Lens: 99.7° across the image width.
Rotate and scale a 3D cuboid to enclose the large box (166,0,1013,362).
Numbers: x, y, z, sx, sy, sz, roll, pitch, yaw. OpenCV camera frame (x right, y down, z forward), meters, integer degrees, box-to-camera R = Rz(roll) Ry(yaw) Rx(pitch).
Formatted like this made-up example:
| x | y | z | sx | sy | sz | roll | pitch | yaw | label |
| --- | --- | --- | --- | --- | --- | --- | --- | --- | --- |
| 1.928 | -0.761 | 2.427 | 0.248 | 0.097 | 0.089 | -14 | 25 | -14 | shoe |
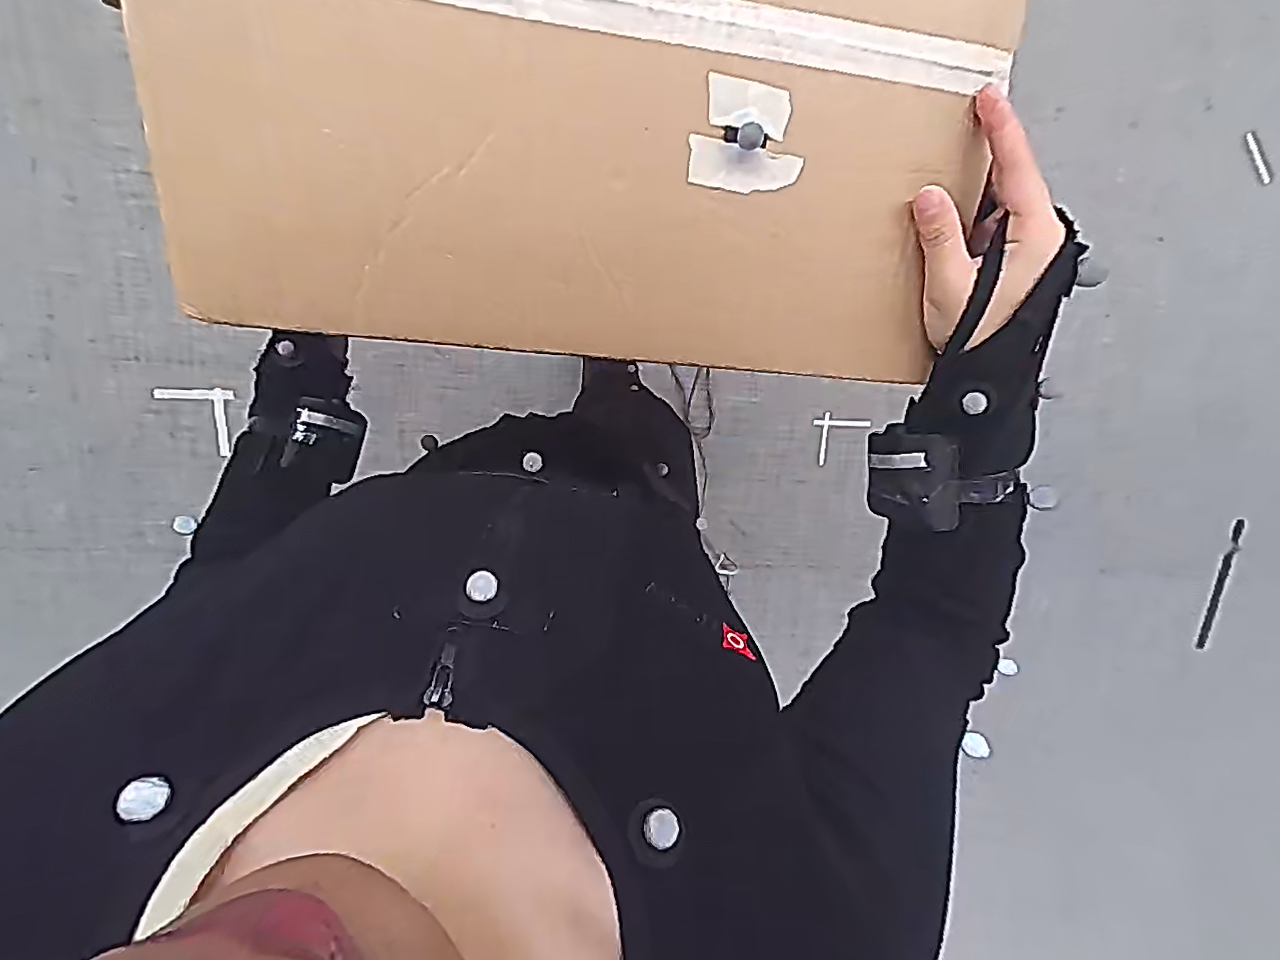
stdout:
| x | y | z | sx | sy | sz | roll | pitch | yaw | label |
| --- | --- | --- | --- | --- | --- | --- | --- | --- | --- |
| -0.030 | -0.271 | 0.397 | 0.408 | 0.320 | 0.320 | 2 | 110 | -10 | large box |
